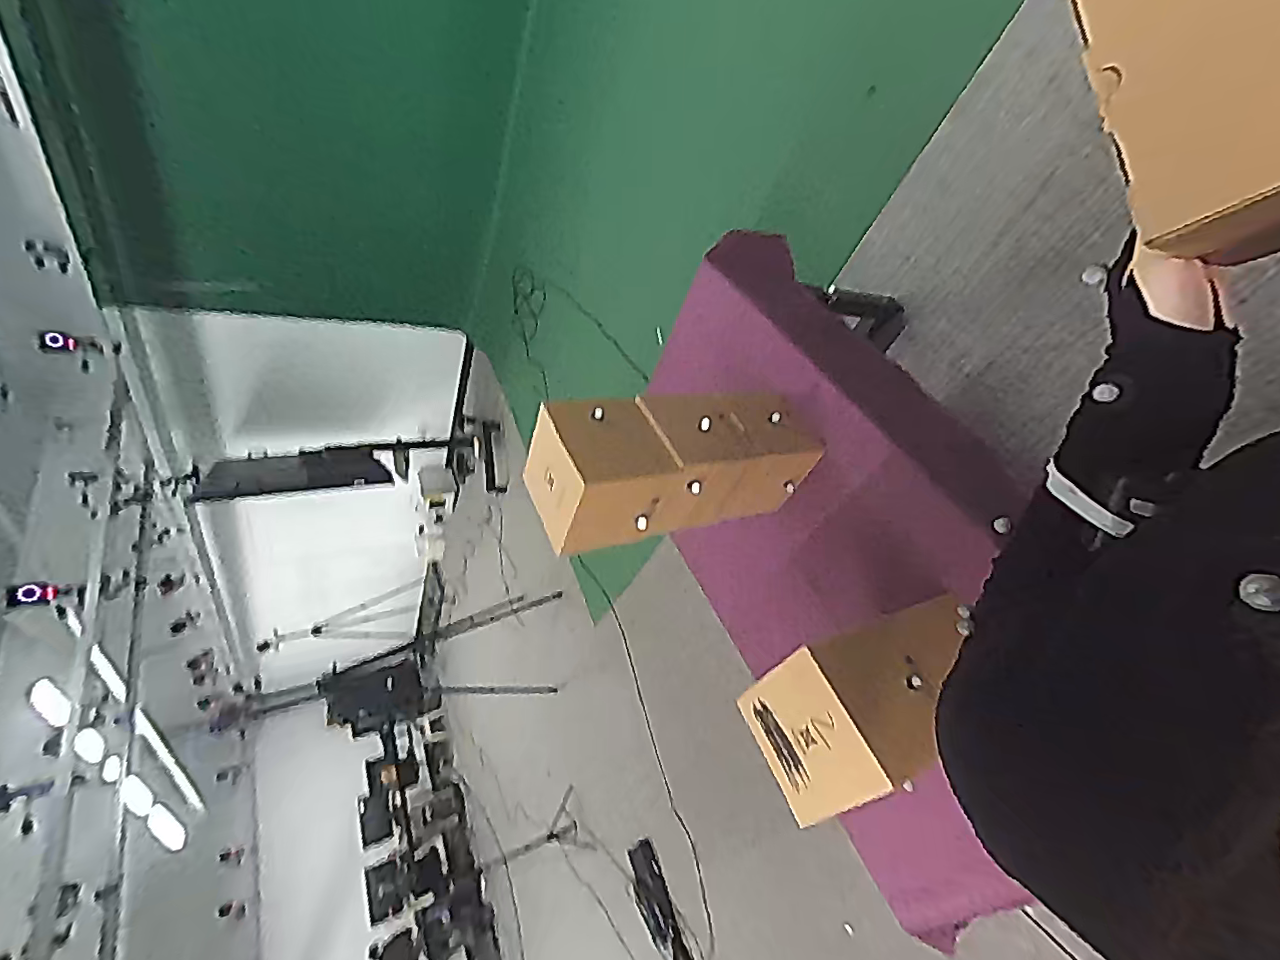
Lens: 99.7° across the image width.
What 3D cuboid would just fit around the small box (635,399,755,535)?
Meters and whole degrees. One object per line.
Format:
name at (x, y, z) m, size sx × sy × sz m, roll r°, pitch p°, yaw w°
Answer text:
small box at (0.075, -0.028, 0.951) m, size 0.168 × 0.176 × 0.179 m, roll 60°, pitch 141°, yaw 33°

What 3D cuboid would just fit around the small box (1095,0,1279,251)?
small box at (0.348, -0.221, 0.236) m, size 0.179 × 0.176 × 0.168 m, roll -17°, pitch 84°, yaw 59°

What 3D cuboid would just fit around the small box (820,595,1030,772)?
small box at (0.411, 0.292, 0.790) m, size 0.168 × 0.176 × 0.179 m, roll 61°, pitch 140°, yaw 31°

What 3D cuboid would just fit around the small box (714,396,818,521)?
small box at (0.211, -0.046, 1.042) m, size 0.168 × 0.176 × 0.179 m, roll 60°, pitch 140°, yaw 32°

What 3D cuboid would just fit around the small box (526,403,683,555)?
small box at (-0.062, -0.006, 0.864) m, size 0.179 × 0.176 × 0.168 m, roll 59°, pitch 141°, yaw 32°
